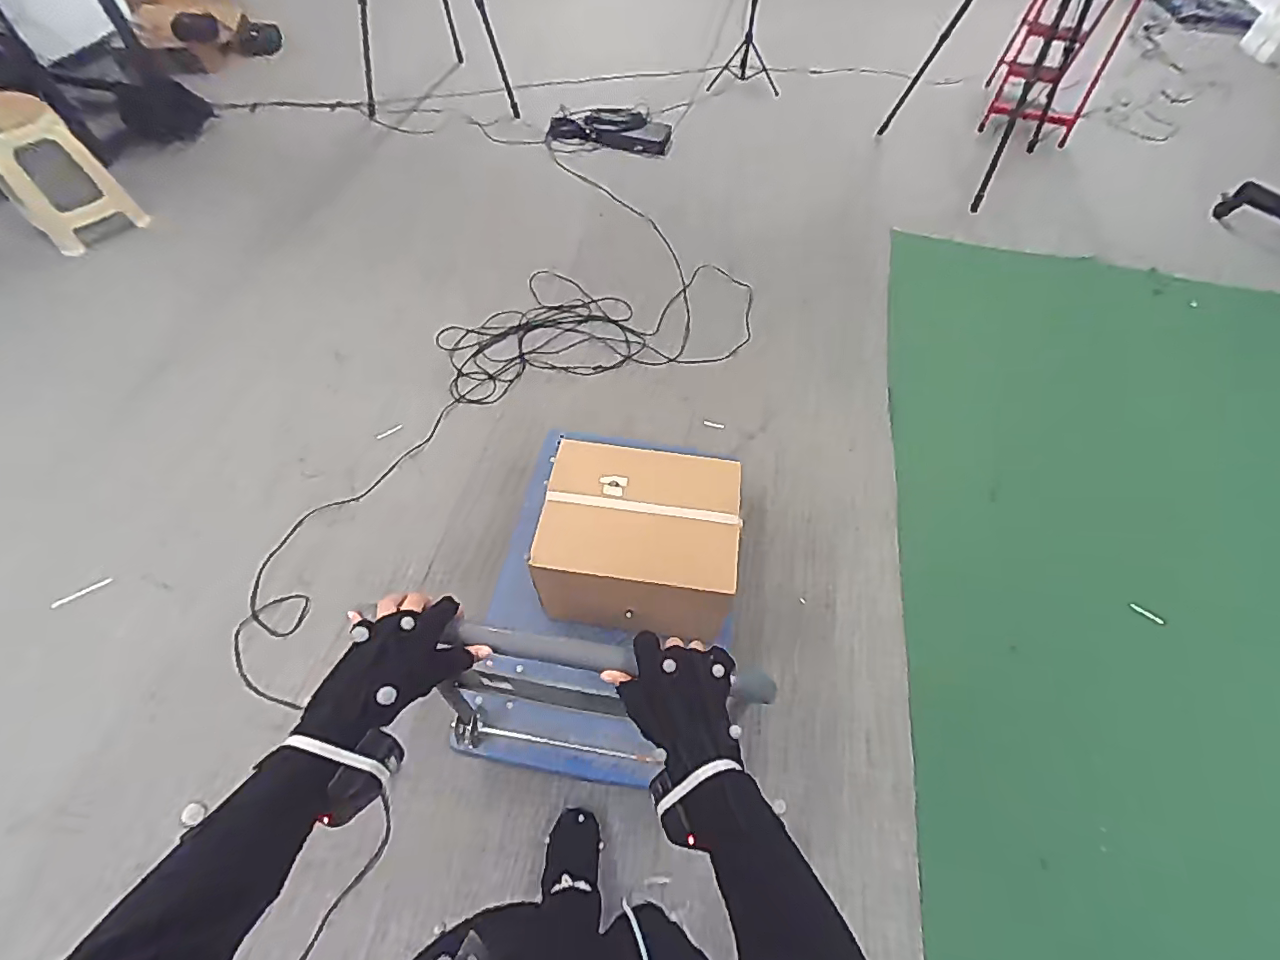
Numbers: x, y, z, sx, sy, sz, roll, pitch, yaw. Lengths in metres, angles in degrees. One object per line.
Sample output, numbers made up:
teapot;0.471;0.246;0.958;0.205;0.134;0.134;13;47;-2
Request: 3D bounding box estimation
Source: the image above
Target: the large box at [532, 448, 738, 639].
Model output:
large box;0.004;0.155;1.252;0.408;0.320;0.320;7;56;5
